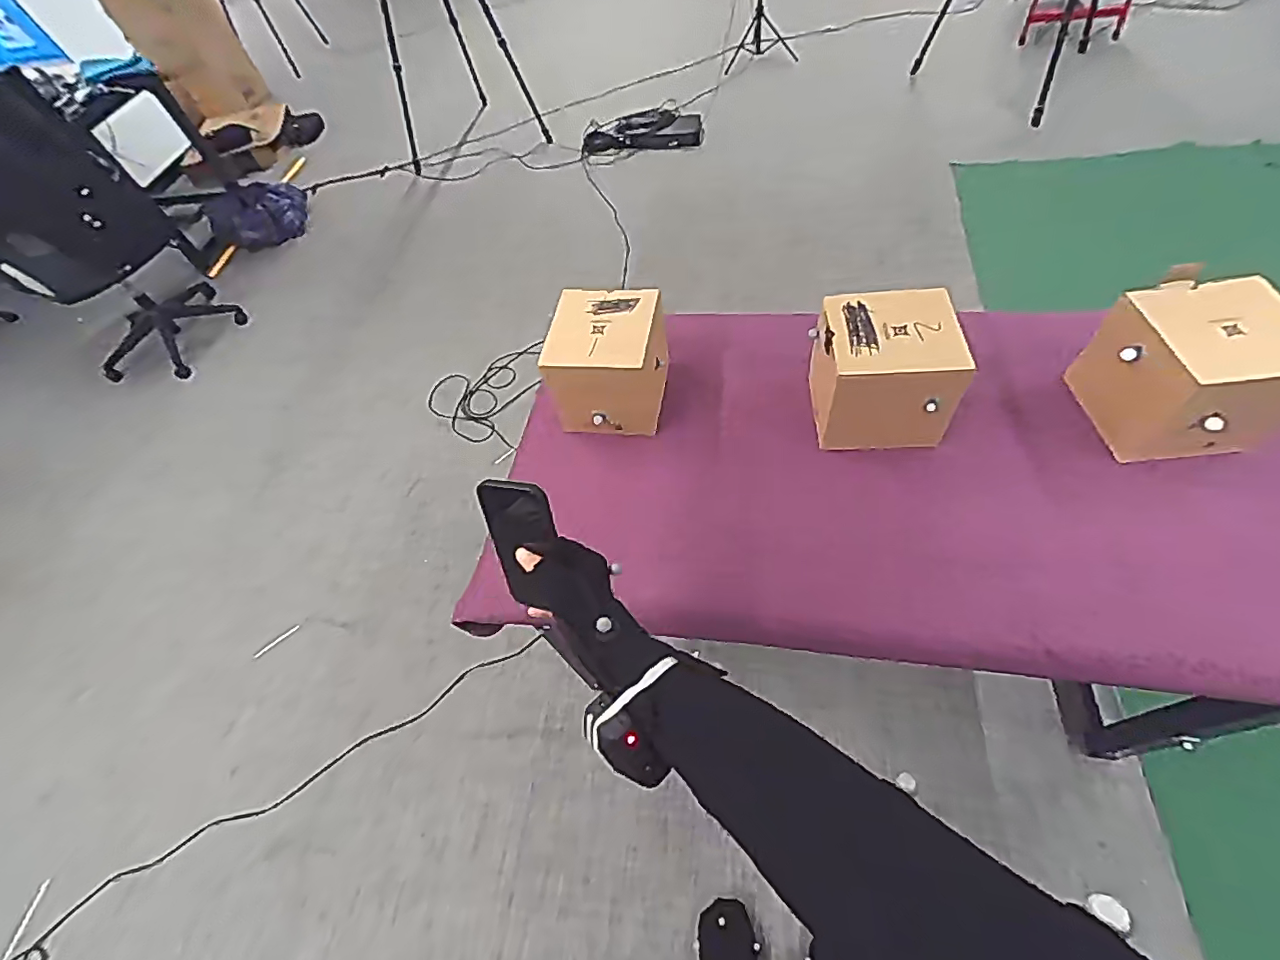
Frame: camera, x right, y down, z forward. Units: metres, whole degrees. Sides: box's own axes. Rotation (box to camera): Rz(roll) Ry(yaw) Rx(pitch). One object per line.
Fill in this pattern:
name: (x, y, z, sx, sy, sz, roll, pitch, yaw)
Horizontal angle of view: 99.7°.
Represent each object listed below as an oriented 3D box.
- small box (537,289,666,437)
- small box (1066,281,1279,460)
small box: (-0.053, -0.194, 0.906, 0.168, 0.176, 0.179, 4, 59, 12)
small box: (0.743, -0.140, 0.741, 0.168, 0.176, 0.179, -6, 55, 6)
